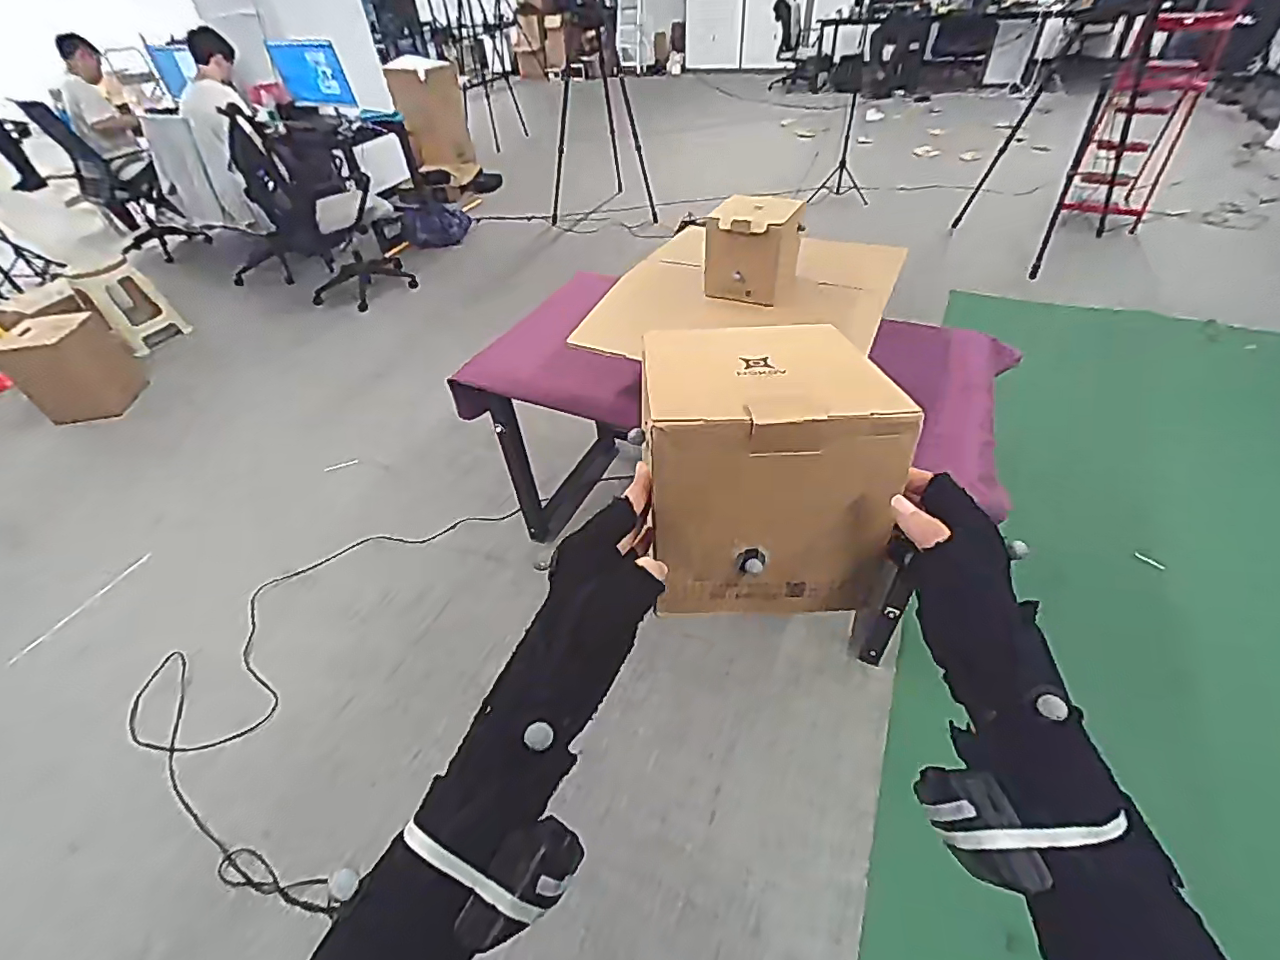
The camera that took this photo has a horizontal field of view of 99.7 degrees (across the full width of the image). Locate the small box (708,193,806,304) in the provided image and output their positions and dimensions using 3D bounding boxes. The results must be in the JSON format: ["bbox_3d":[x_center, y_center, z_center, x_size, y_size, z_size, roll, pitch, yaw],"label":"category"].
[{"bbox_3d":[0.255,-0.517,1.203,0.168,0.176,0.179,17,48,22],"label":"small box"}]

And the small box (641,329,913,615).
[{"bbox_3d":[0.084,-0.014,0.439,0.168,0.176,0.179,-3,33,-1],"label":"small box"}]
